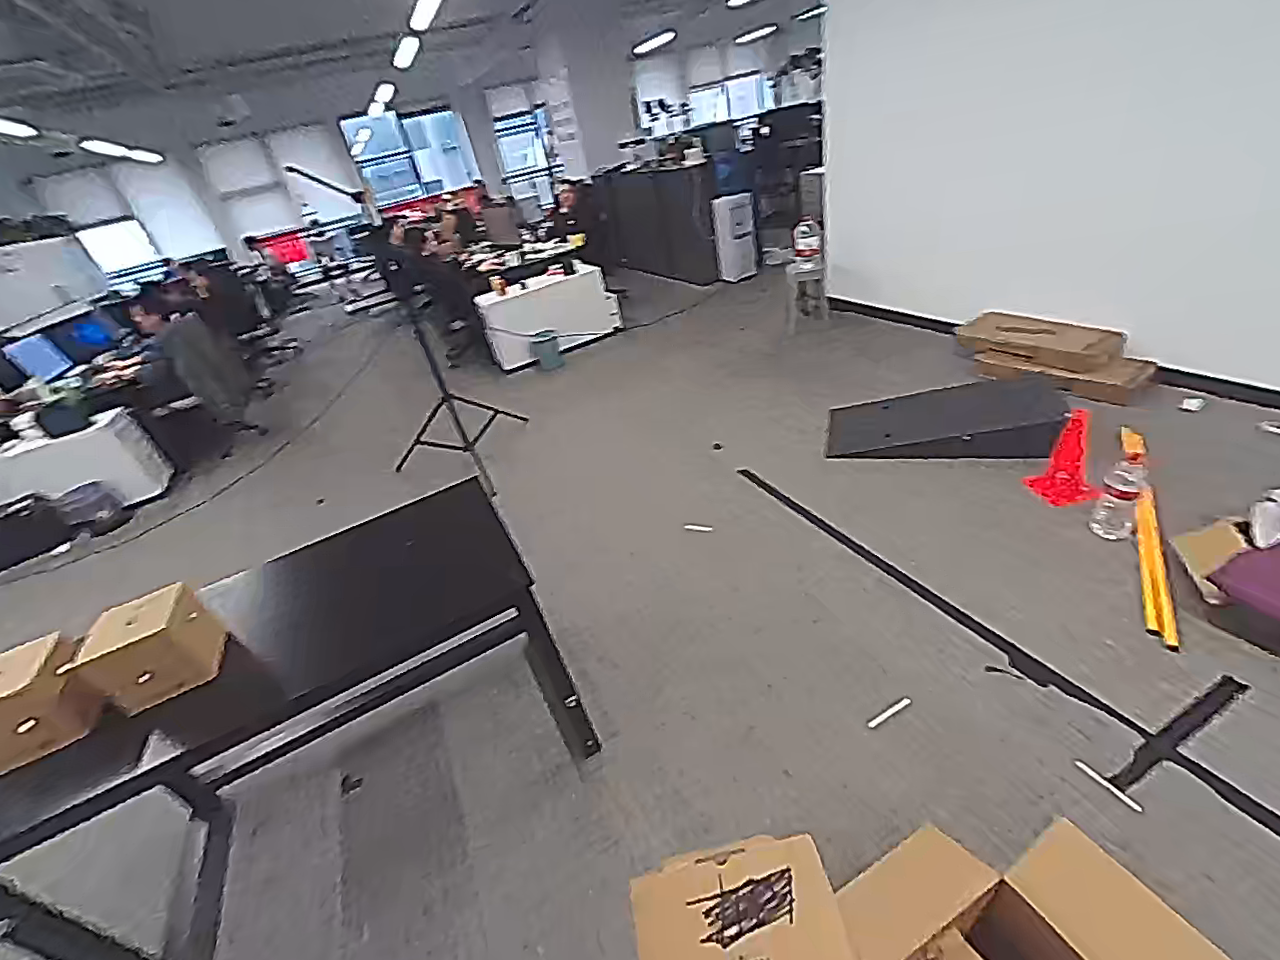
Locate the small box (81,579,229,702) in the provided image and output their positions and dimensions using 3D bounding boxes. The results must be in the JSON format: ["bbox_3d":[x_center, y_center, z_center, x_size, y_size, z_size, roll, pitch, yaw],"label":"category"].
[{"bbox_3d":[-1.051,0.358,1.194,0.168,0.176,0.179,-24,34,-17],"label":"small box"}]

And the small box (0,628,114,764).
[{"bbox_3d":[-1.261,0.454,1.128,0.168,0.176,0.179,-24,33,-18],"label":"small box"}]

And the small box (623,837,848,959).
[{"bbox_3d":[0.087,0.442,0.447,0.168,0.176,0.179,-12,36,-4],"label":"small box"}]
